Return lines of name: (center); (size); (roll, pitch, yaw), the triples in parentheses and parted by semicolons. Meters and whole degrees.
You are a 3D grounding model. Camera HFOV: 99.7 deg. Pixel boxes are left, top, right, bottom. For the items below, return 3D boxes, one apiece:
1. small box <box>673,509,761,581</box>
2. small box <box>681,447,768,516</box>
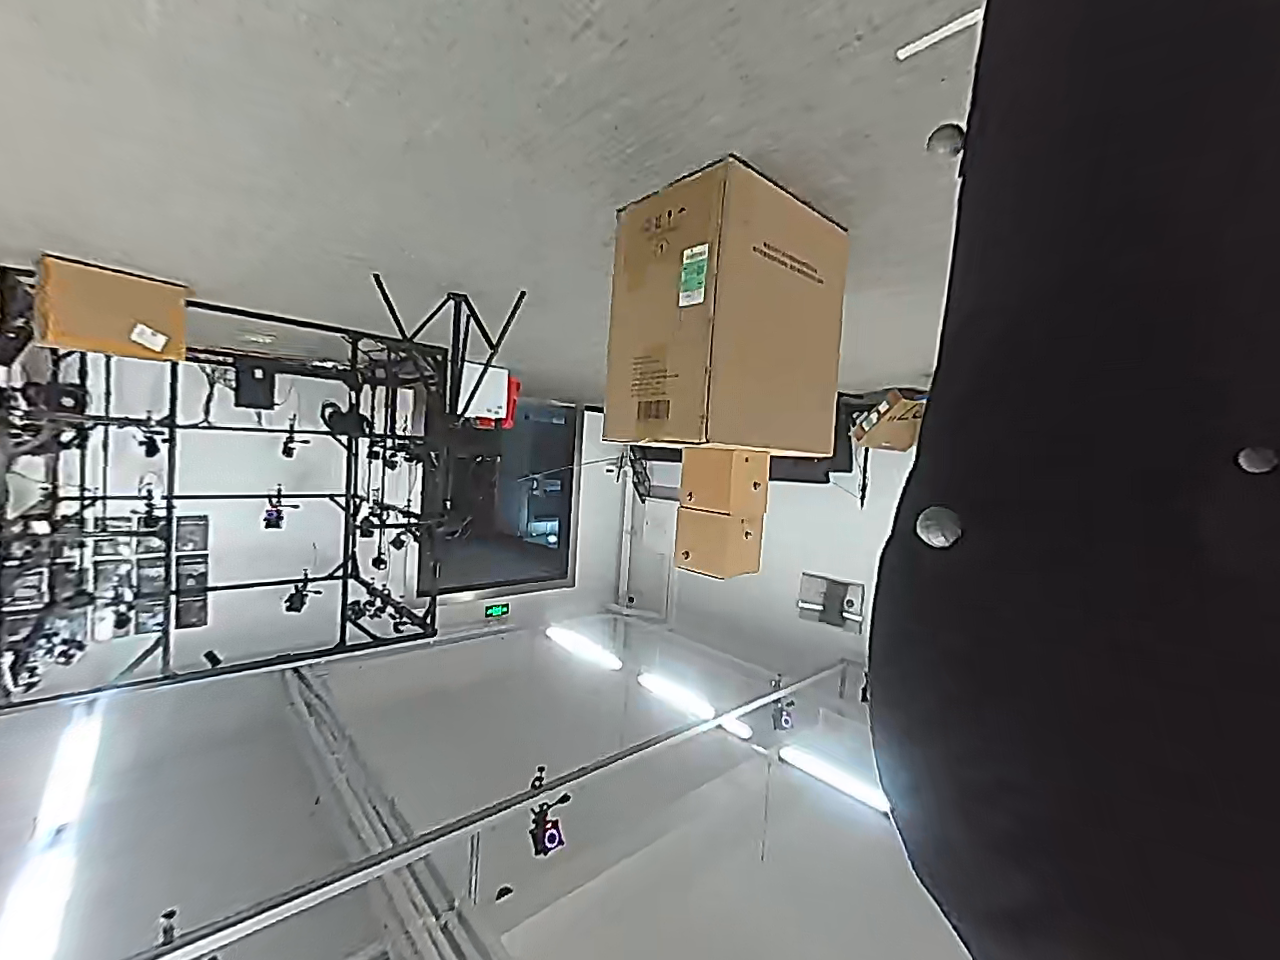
small box: (0.210, 0.163, 1.456); (0.179, 0.176, 0.168); (7, -175, 45)
small box: (0.228, -0.001, 1.445); (0.168, 0.176, 0.179); (1, -176, -43)
